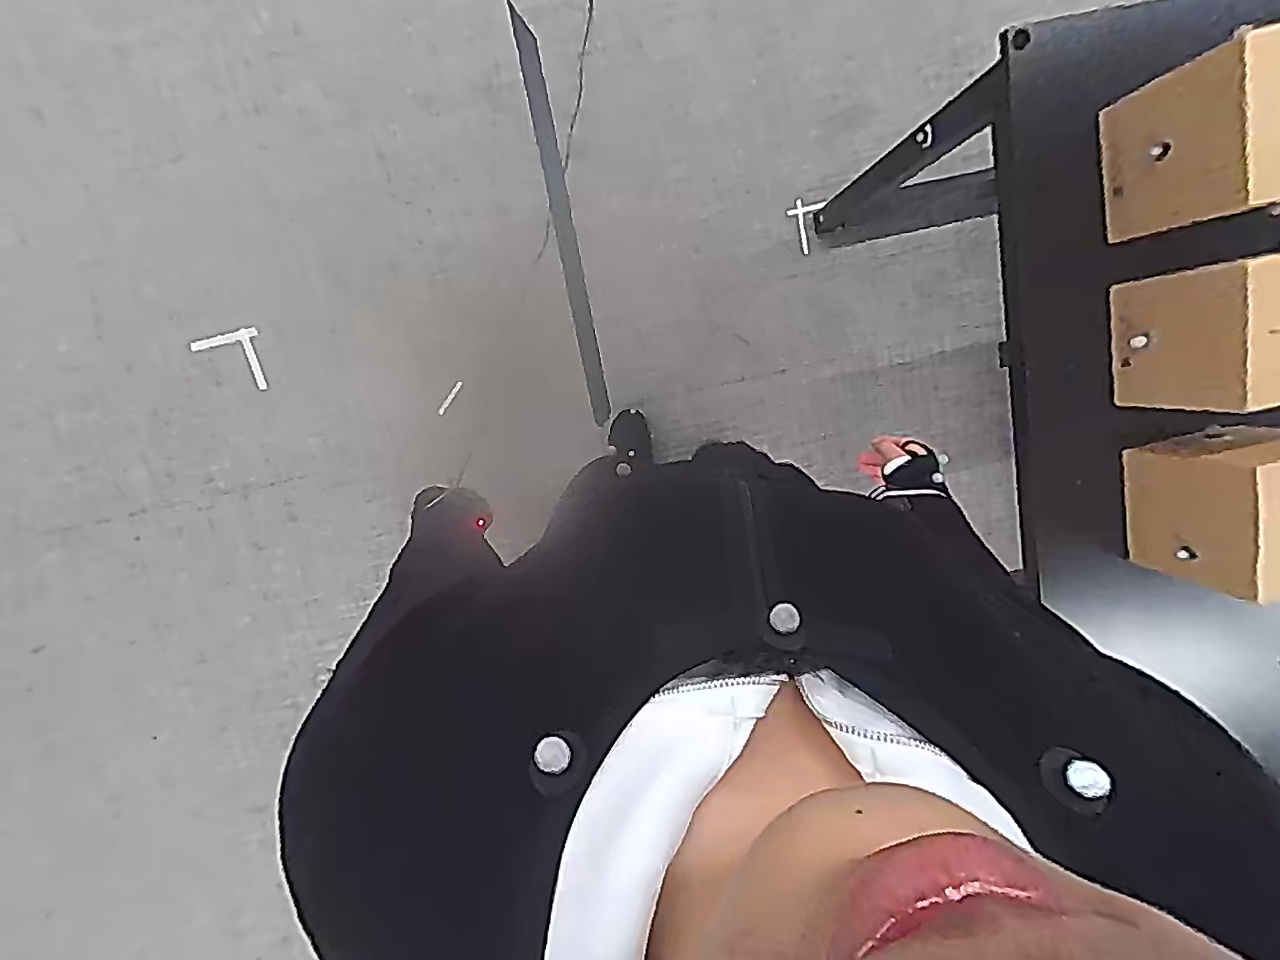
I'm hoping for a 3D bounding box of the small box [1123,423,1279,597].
[{"bbox_3d":[0.793,0.029,0.715,0.168,0.176,0.179,-13,100,-1],"label":"small box"}]
